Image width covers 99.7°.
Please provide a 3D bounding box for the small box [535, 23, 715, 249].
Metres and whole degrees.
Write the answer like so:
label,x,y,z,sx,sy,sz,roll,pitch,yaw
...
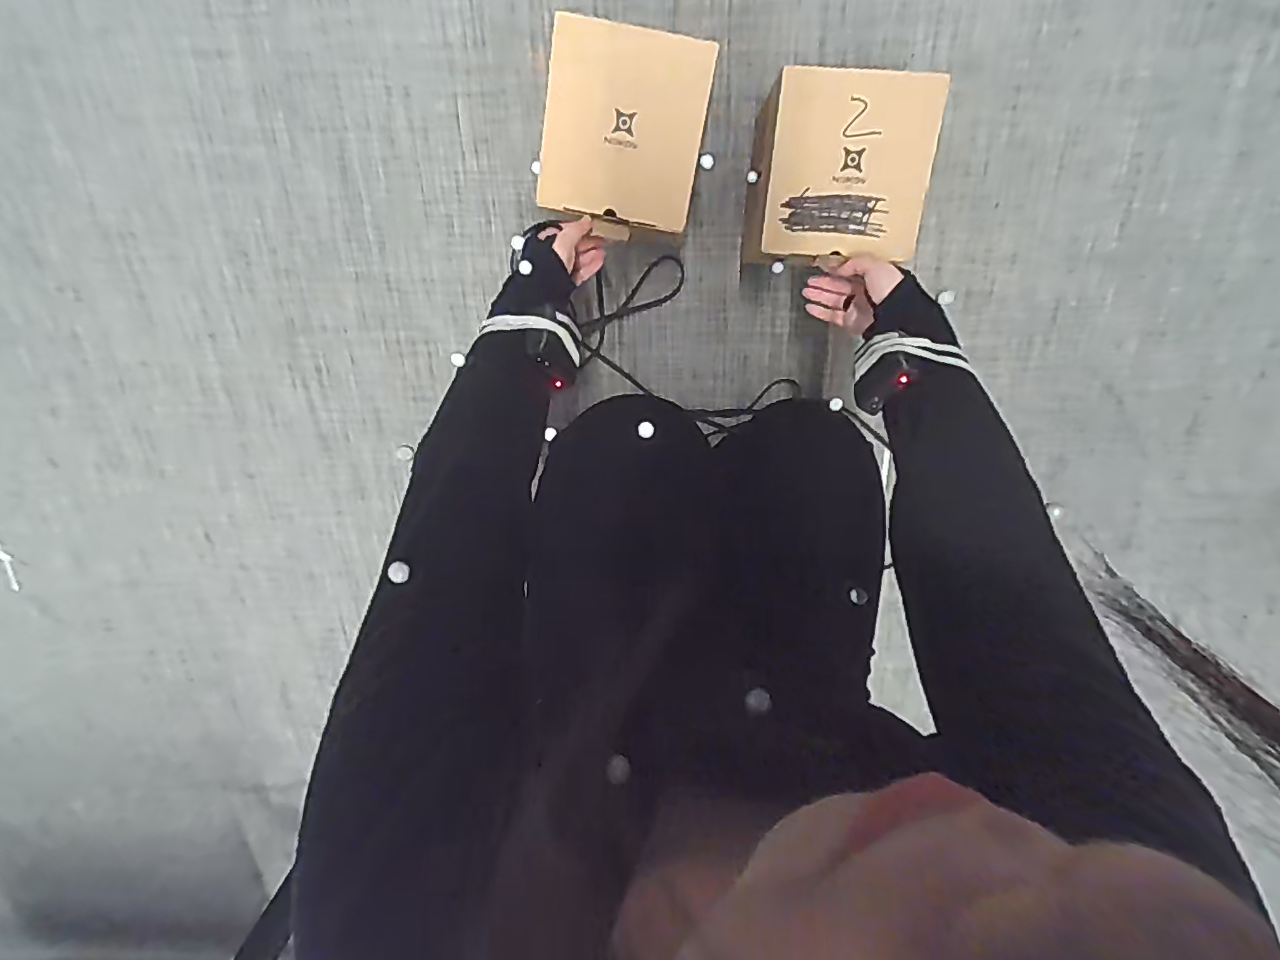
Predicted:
label,x,y,z,sx,sy,sz,roll,pitch,yaw
small box,-0.017,-0.385,0.641,0.168,0.176,0.179,11,111,-1
